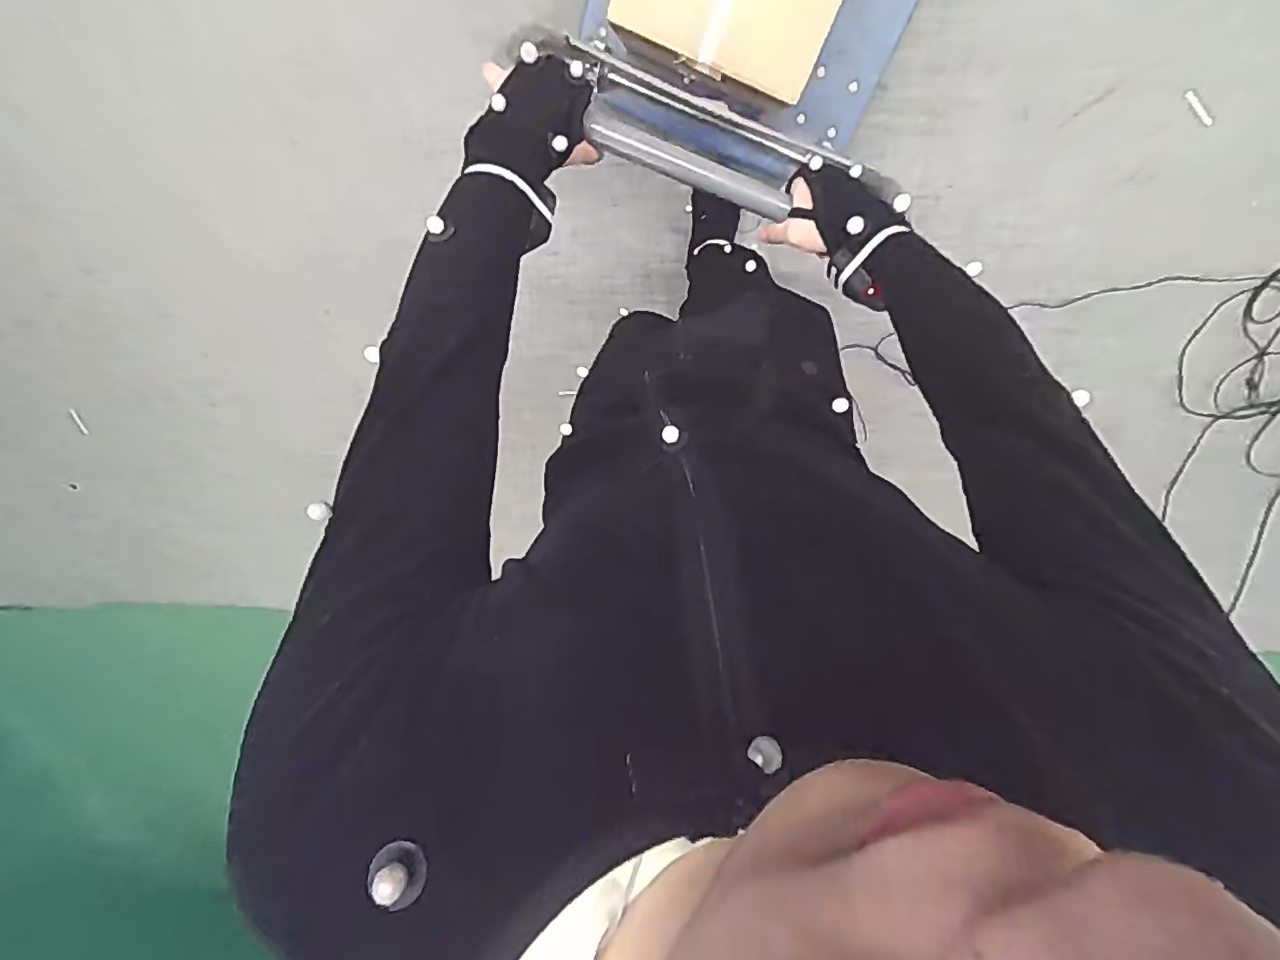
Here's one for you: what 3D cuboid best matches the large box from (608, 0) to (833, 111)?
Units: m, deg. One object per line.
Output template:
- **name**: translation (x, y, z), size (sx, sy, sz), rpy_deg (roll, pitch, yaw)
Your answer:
- **large box**: translation (0.169, -0.872, 0.850), size (0.320, 0.320, 0.408), rpy_deg (19, 121, -7)
